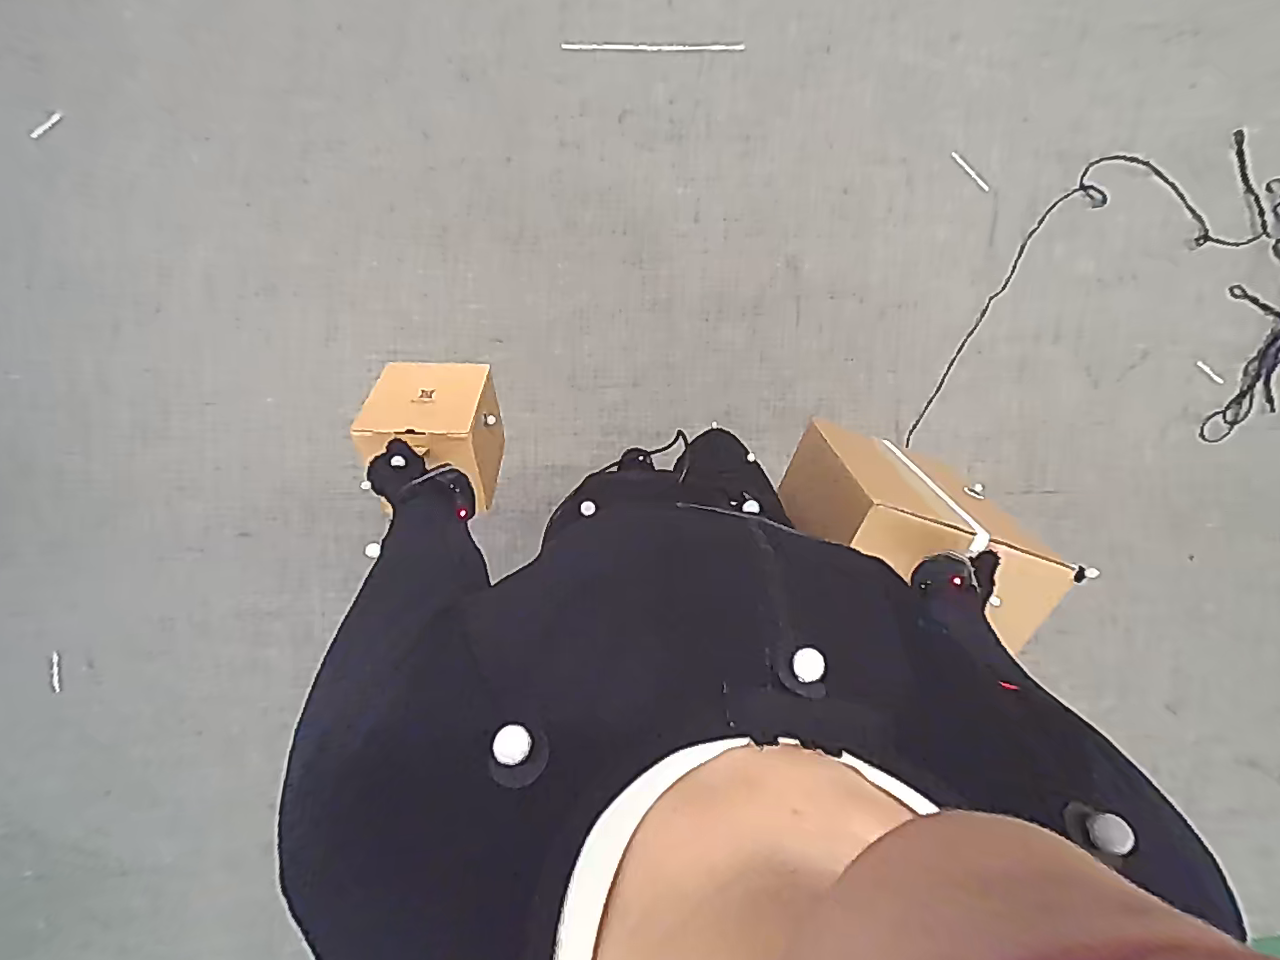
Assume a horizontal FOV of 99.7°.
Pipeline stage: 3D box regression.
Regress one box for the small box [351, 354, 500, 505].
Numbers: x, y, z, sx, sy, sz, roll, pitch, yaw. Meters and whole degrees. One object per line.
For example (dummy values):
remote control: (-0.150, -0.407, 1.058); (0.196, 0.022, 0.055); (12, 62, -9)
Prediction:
small box: (-0.326, -0.081, 0.868); (0.168, 0.179, 0.176); (1, 137, -2)
